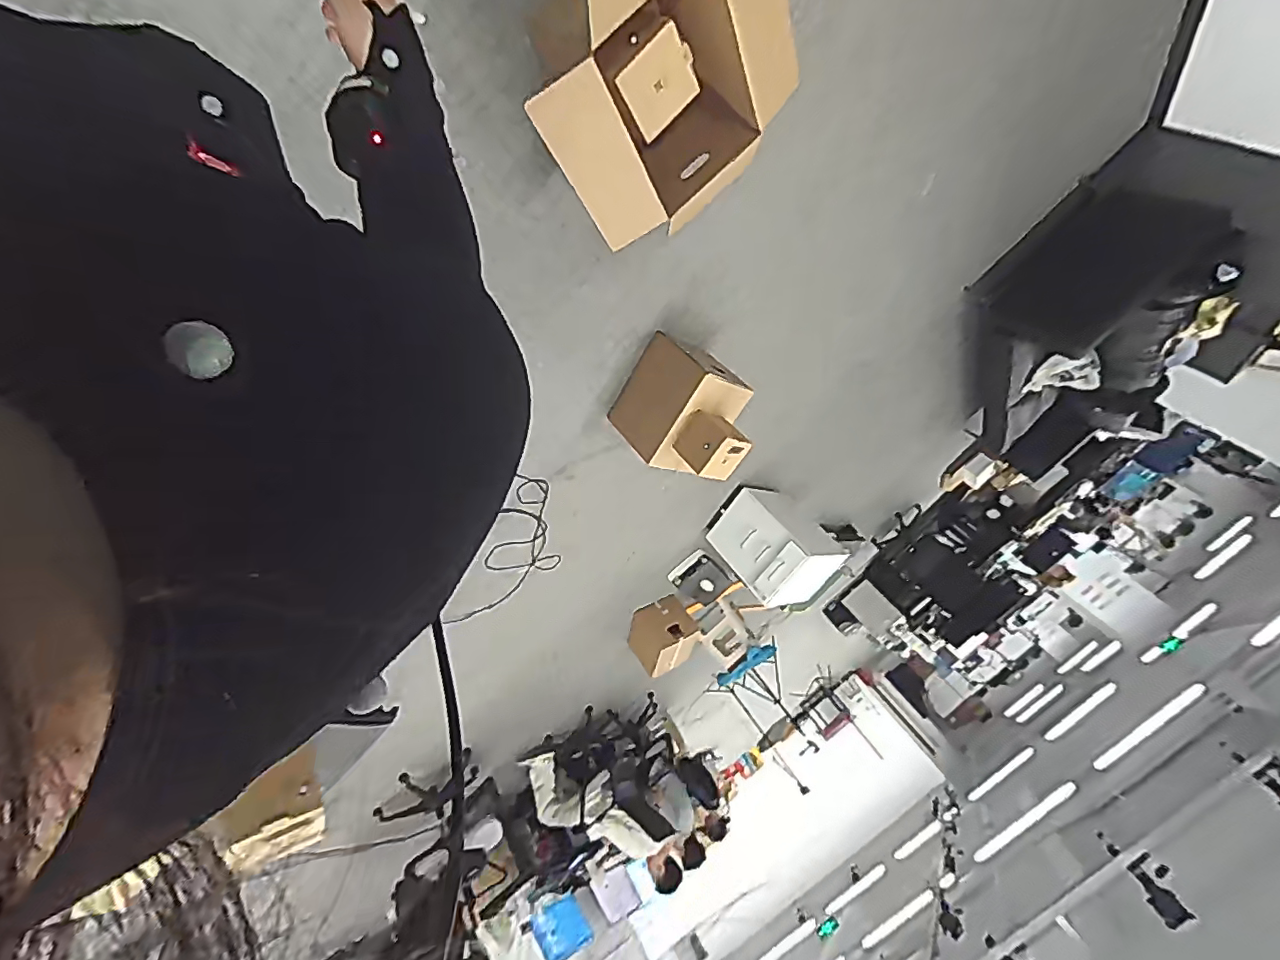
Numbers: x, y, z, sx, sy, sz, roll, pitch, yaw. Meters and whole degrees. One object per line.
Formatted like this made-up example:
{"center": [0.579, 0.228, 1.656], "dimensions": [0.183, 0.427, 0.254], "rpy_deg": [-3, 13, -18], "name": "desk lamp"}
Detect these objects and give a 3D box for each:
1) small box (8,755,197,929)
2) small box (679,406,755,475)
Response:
{"center": [-0.901, 0.599, 0.920], "dimensions": [0.179, 0.176, 0.168], "rpy_deg": [-43, 147, 6], "name": "small box"}
{"center": [0.273, -0.144, 1.954], "dimensions": [0.168, 0.176, 0.179], "rpy_deg": [8, 124, -46], "name": "small box"}
